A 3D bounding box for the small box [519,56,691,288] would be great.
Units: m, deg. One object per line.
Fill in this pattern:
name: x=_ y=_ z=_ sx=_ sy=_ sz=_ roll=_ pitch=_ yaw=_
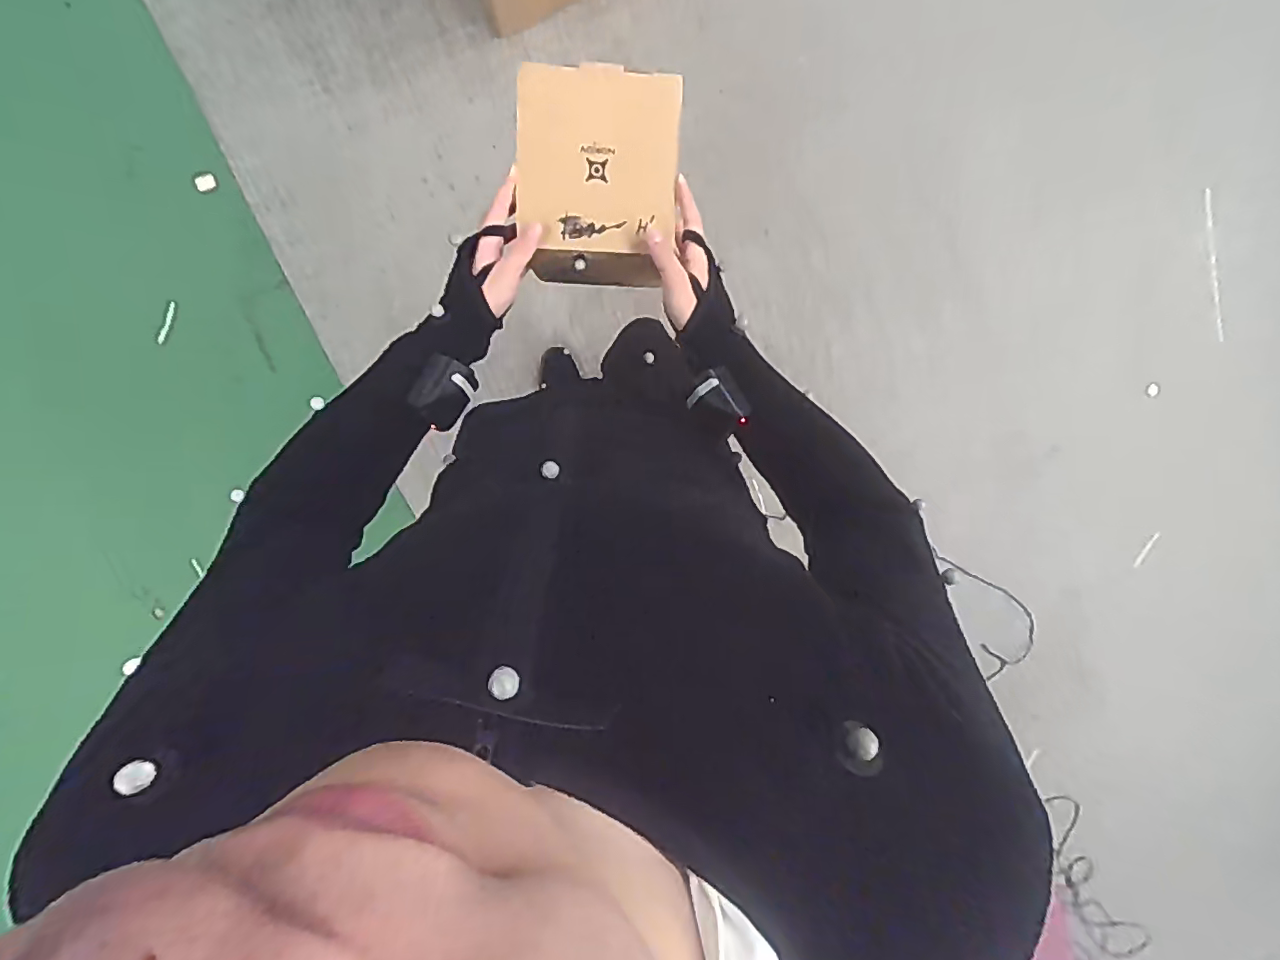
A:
small box: x=-0.041 y=-0.330 z=0.615 sx=0.168 sy=0.176 sz=0.179 roll=3 pitch=99 yaw=-3
